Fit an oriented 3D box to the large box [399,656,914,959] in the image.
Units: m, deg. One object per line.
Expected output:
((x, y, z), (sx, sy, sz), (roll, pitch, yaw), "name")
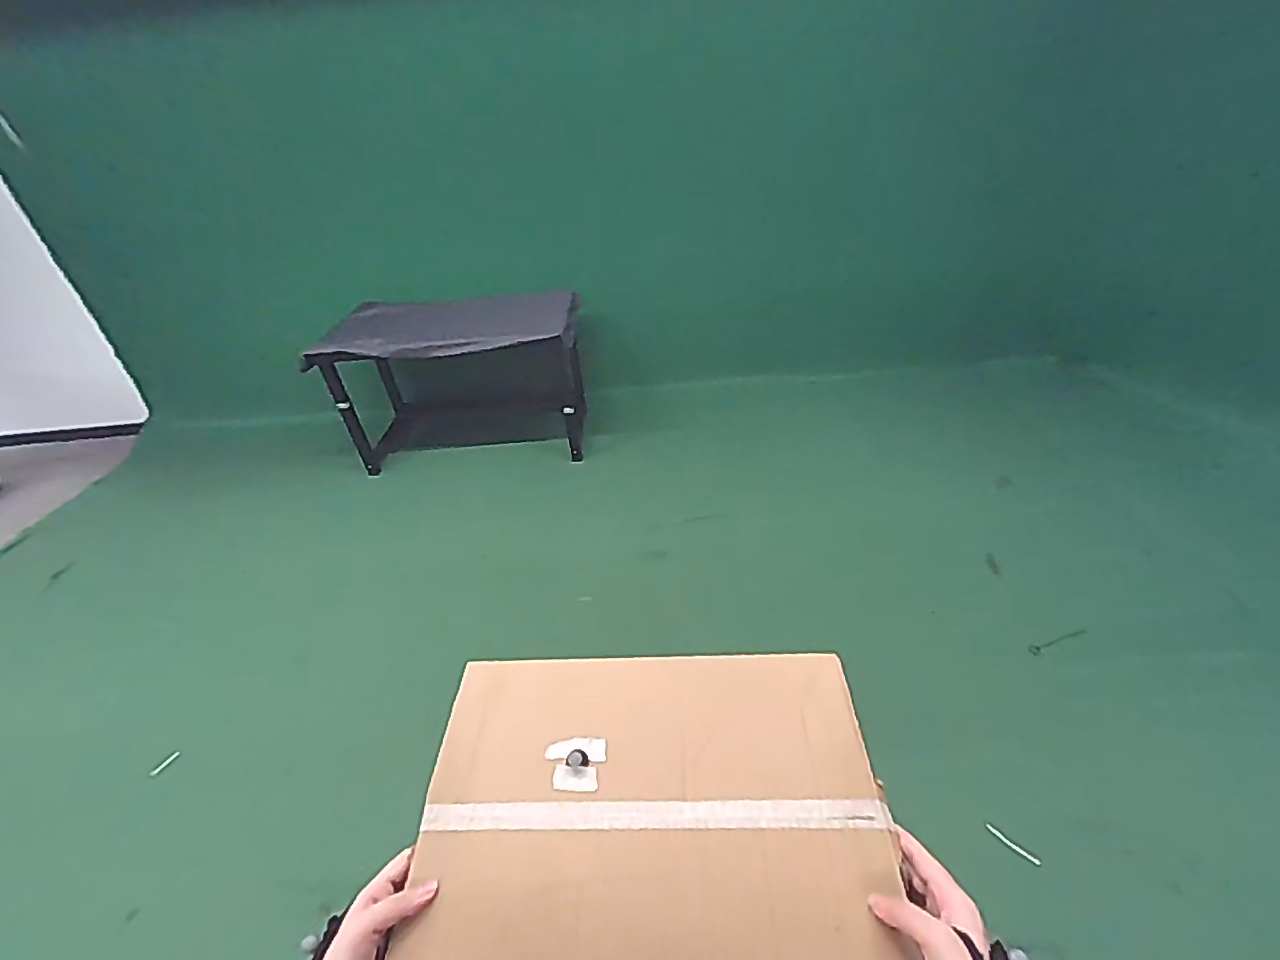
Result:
((0.024, 0.416, 0.581), (0.408, 0.320, 0.320), (-4, 41, 5), "large box")
